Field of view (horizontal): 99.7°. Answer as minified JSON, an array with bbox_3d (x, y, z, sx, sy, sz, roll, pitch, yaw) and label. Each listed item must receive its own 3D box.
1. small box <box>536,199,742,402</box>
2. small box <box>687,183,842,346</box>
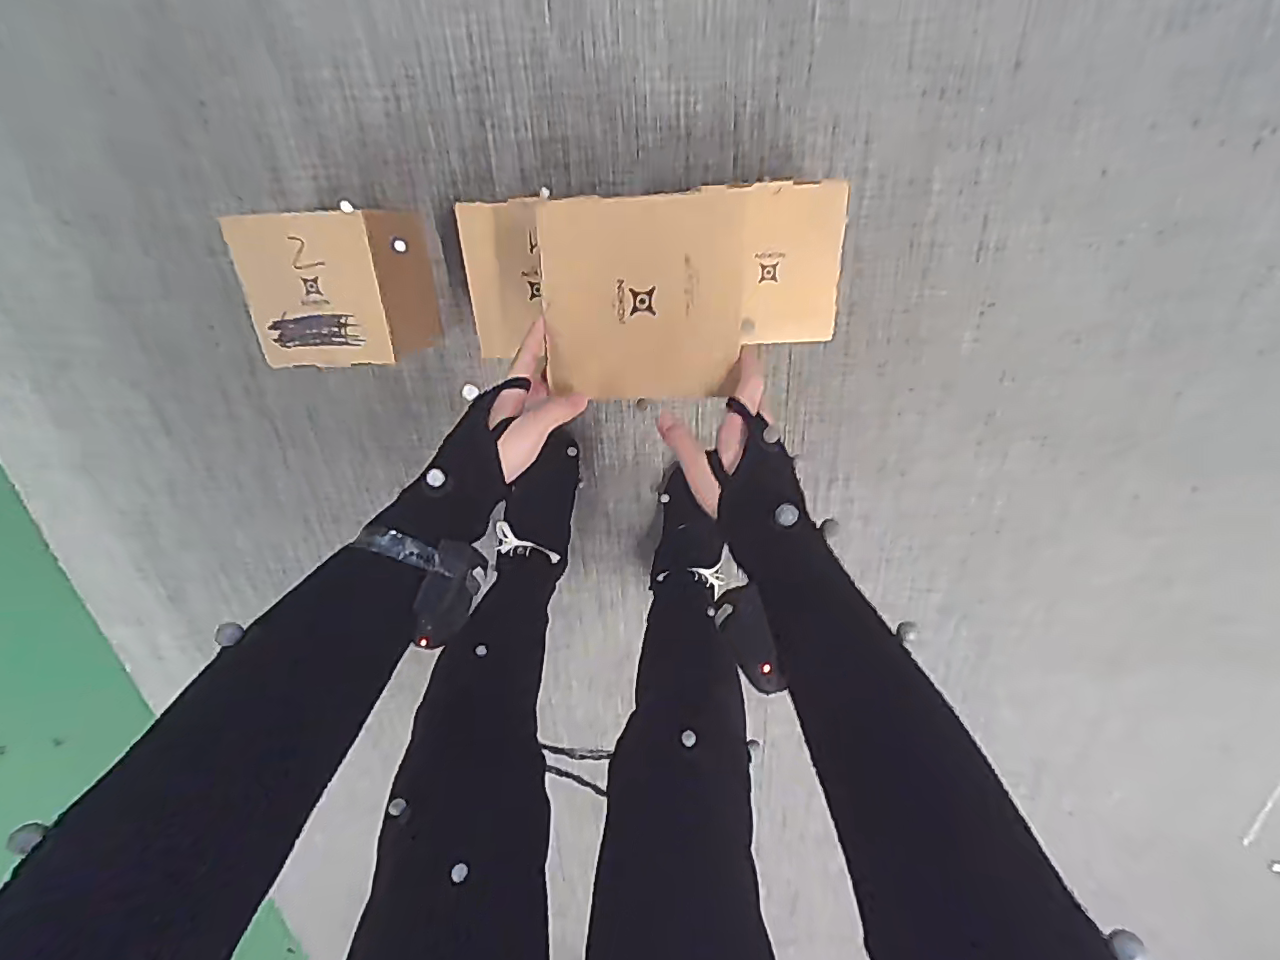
[{"bbox_3d":[0.008,-0.165,0.540,0.179,0.176,0.168,2,102,8],"label":"small box"},{"bbox_3d":[0.146,-0.281,0.704,0.168,0.176,0.179,-2,115,2],"label":"small box"}]
